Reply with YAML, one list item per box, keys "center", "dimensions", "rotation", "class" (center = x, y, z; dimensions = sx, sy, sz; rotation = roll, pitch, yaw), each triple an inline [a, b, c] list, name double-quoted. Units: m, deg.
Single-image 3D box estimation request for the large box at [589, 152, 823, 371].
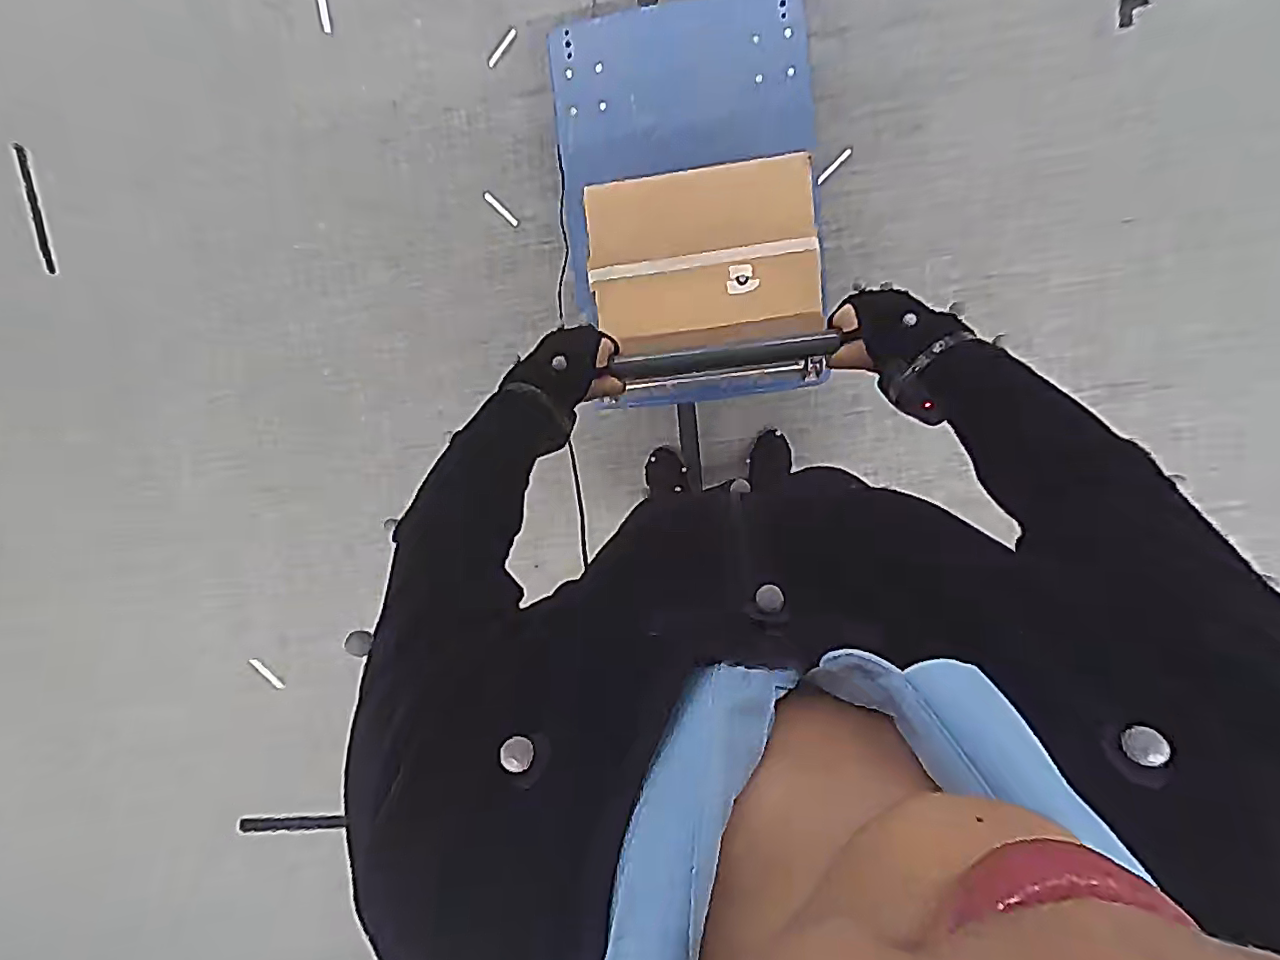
- center: [0.131, -0.422, 1.135]
  dimensions: [0.408, 0.320, 0.320]
  rotation: [-6, 96, 5]
  class: "large box"
